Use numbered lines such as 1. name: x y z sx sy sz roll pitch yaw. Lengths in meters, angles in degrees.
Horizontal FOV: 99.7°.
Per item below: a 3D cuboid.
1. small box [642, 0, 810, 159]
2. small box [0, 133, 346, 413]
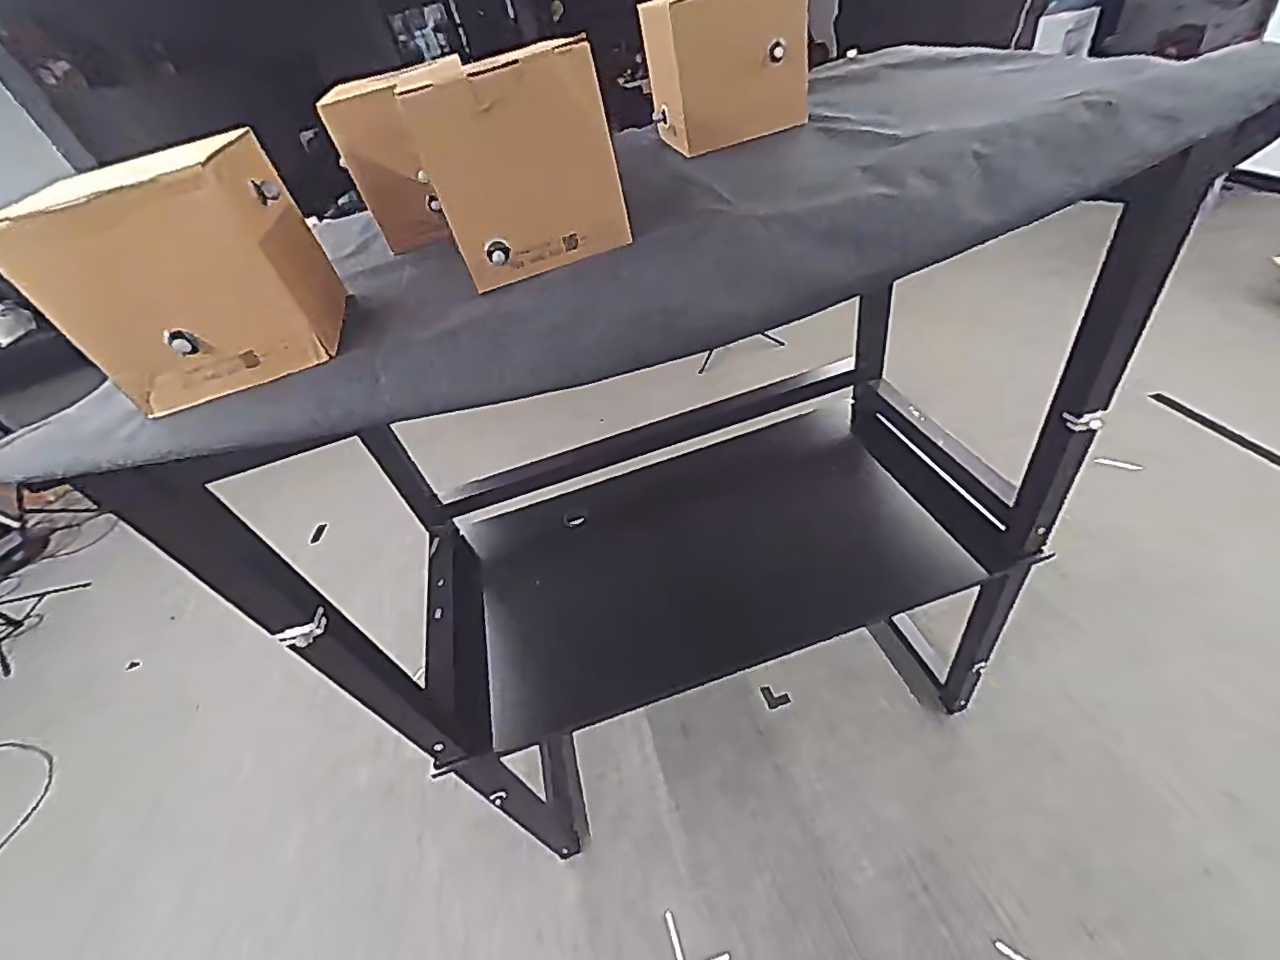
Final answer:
1. small box: 0.115 -0.568 0.744 0.179 0.176 0.168 -17 42 -2
2. small box: -0.396 -0.190 0.493 0.168 0.176 0.179 -21 43 -6
